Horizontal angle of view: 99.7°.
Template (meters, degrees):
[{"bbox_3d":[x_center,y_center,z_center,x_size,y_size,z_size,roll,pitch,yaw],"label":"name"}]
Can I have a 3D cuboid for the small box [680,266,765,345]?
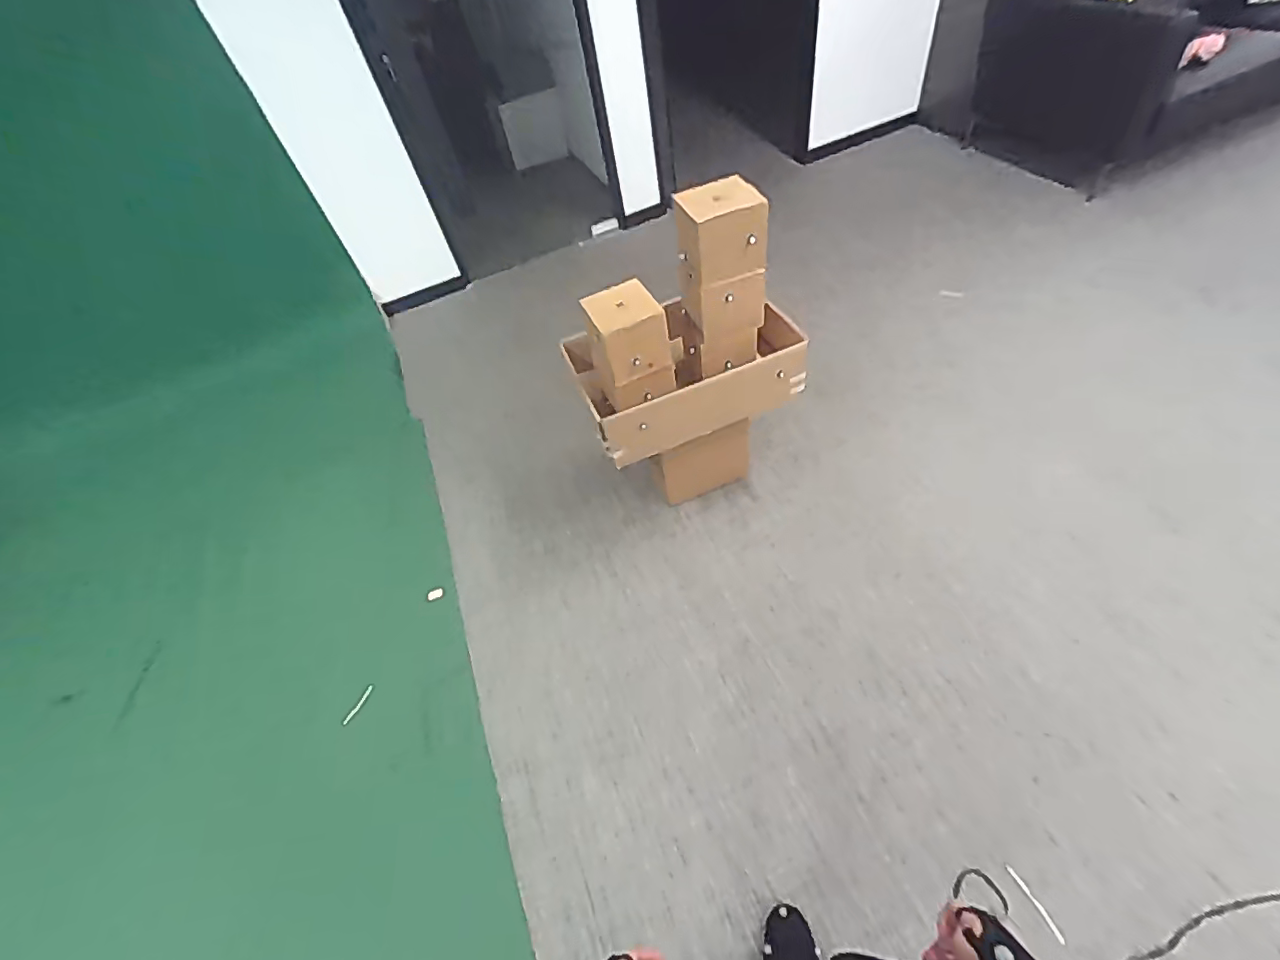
[{"bbox_3d":[0.222,-0.488,1.449,0.179,0.176,0.168,-19,50,-5],"label":"small box"}]

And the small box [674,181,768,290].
[{"bbox_3d":[0.198,-0.598,1.330,0.179,0.176,0.168,-20,50,-4],"label":"small box"}]
